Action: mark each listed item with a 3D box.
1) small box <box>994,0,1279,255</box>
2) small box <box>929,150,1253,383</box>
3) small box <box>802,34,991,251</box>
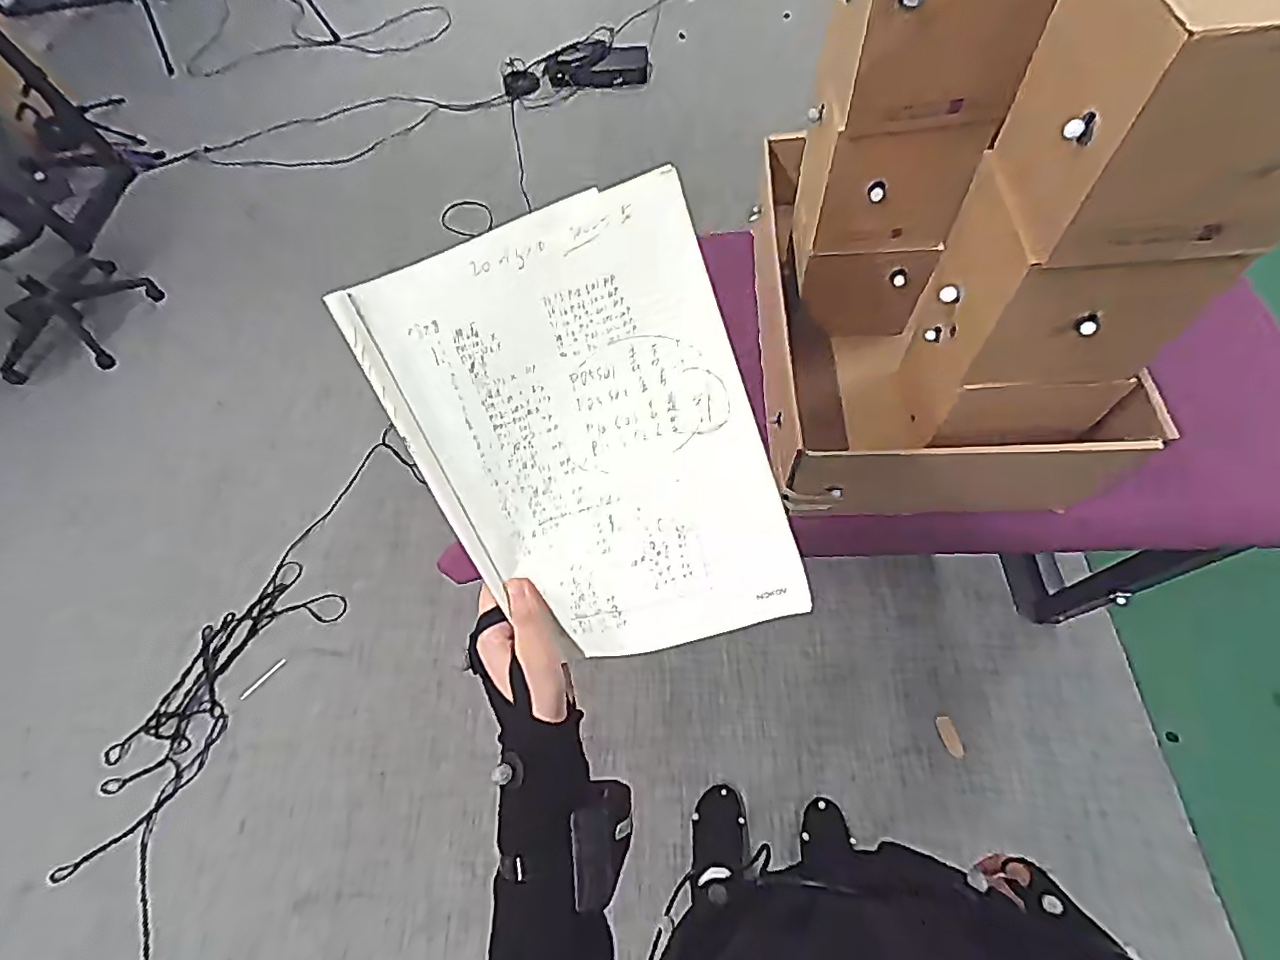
[{"bbox_3d":[0.407,-0.292,0.411,0.168,0.176,0.179,0,61,9],"label":"small box"},{"bbox_3d":[0.426,-0.214,0.554,0.179,0.176,0.168,-1,61,9],"label":"small box"},{"bbox_3d":[0.303,-0.410,0.681,0.168,0.176,0.179,0,64,8],"label":"small box"}]
